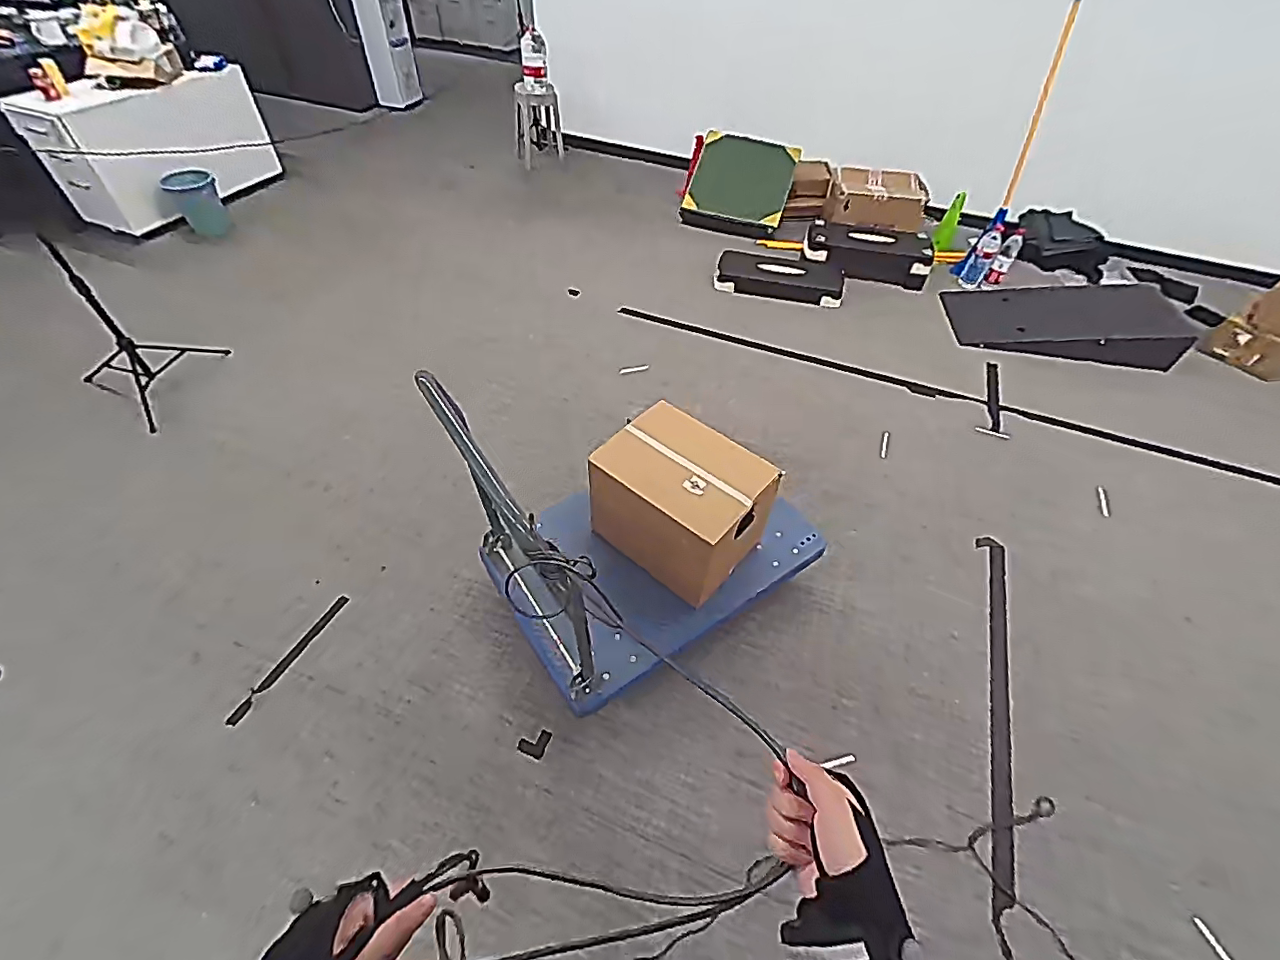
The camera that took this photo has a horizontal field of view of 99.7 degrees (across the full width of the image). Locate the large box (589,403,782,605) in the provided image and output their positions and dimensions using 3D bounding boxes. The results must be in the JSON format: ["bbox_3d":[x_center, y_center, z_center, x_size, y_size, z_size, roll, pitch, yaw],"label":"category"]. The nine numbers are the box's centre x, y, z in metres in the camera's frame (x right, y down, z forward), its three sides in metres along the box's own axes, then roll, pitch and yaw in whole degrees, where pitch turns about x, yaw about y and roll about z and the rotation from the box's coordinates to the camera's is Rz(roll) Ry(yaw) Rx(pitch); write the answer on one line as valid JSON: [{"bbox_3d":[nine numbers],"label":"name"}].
[{"bbox_3d":[0.106,0.061,1.486,0.408,0.320,0.320,35,57,23],"label":"large box"}]
